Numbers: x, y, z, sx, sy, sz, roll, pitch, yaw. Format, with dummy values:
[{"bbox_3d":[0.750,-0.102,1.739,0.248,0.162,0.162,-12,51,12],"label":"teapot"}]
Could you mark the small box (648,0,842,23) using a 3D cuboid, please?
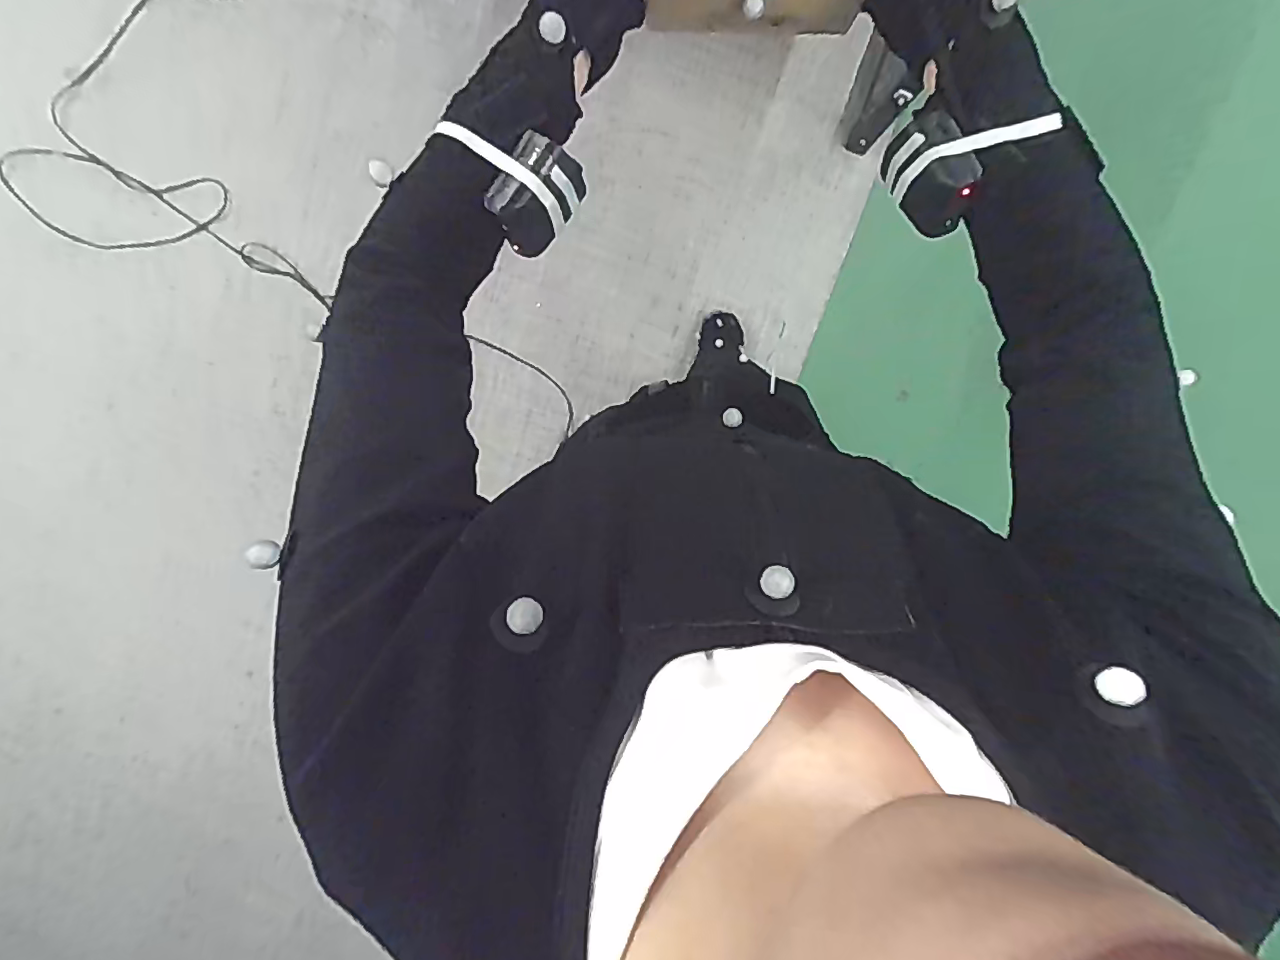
[{"bbox_3d":[0.078,-0.438,0.338,0.168,0.176,0.179,3,105,3],"label":"small box"}]
